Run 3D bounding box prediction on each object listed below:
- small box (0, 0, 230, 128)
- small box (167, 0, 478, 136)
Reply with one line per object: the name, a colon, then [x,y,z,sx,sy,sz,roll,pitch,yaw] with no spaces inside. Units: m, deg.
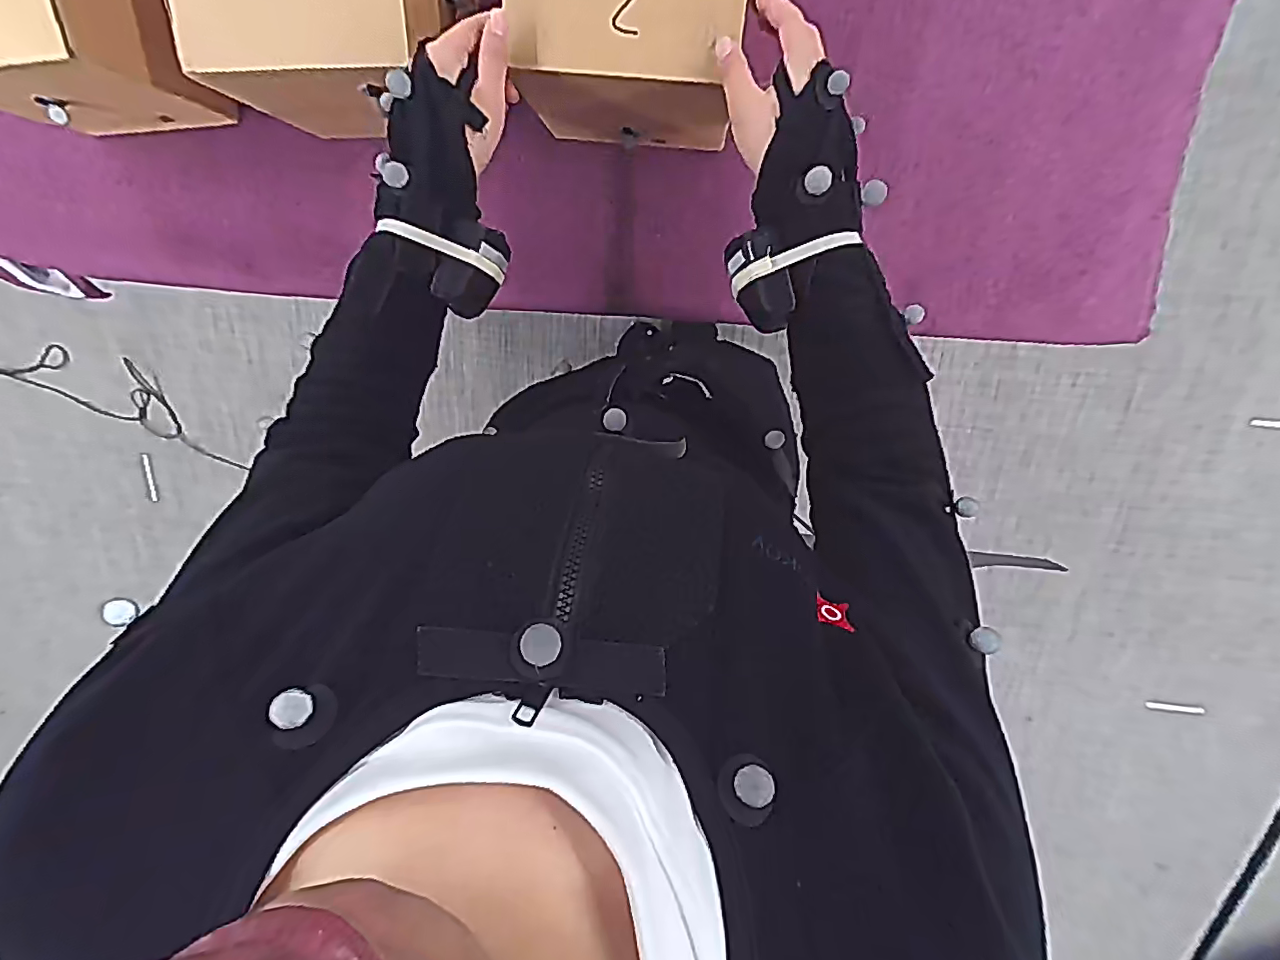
small box: [-0.496,-0.417,0.454,0.168,0.176,0.179,-2,108,5]
small box: [-0.241,-0.397,0.437,0.179,0.176,0.168,1,107,4]
